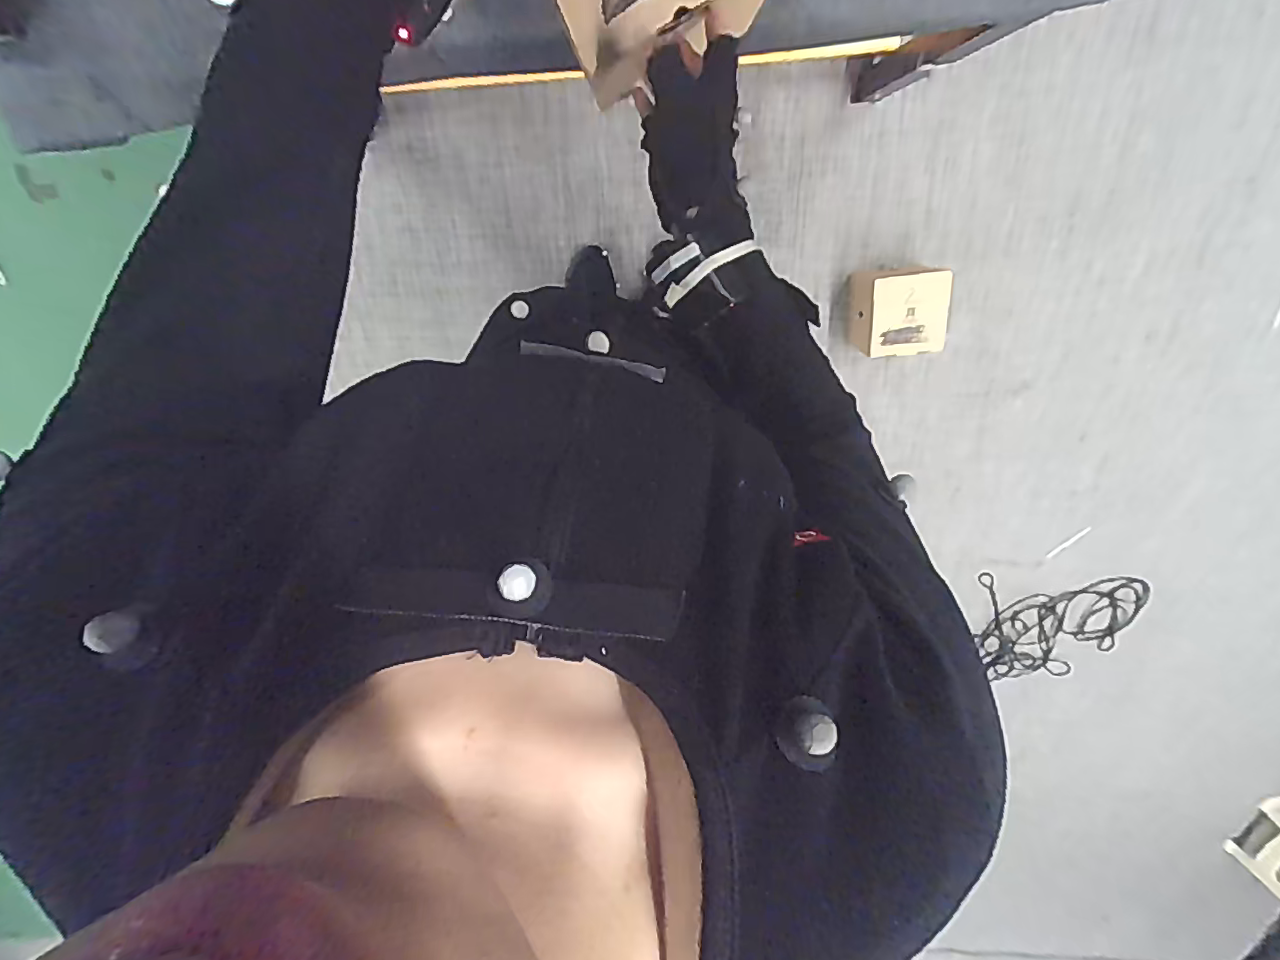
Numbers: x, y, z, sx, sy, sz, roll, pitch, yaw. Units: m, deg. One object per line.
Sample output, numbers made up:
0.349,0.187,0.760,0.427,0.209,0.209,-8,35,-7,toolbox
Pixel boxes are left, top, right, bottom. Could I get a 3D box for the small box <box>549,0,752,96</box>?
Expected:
-0.005,-0.449,0.441,0.168,0.176,0.179,-22,114,11,small box
